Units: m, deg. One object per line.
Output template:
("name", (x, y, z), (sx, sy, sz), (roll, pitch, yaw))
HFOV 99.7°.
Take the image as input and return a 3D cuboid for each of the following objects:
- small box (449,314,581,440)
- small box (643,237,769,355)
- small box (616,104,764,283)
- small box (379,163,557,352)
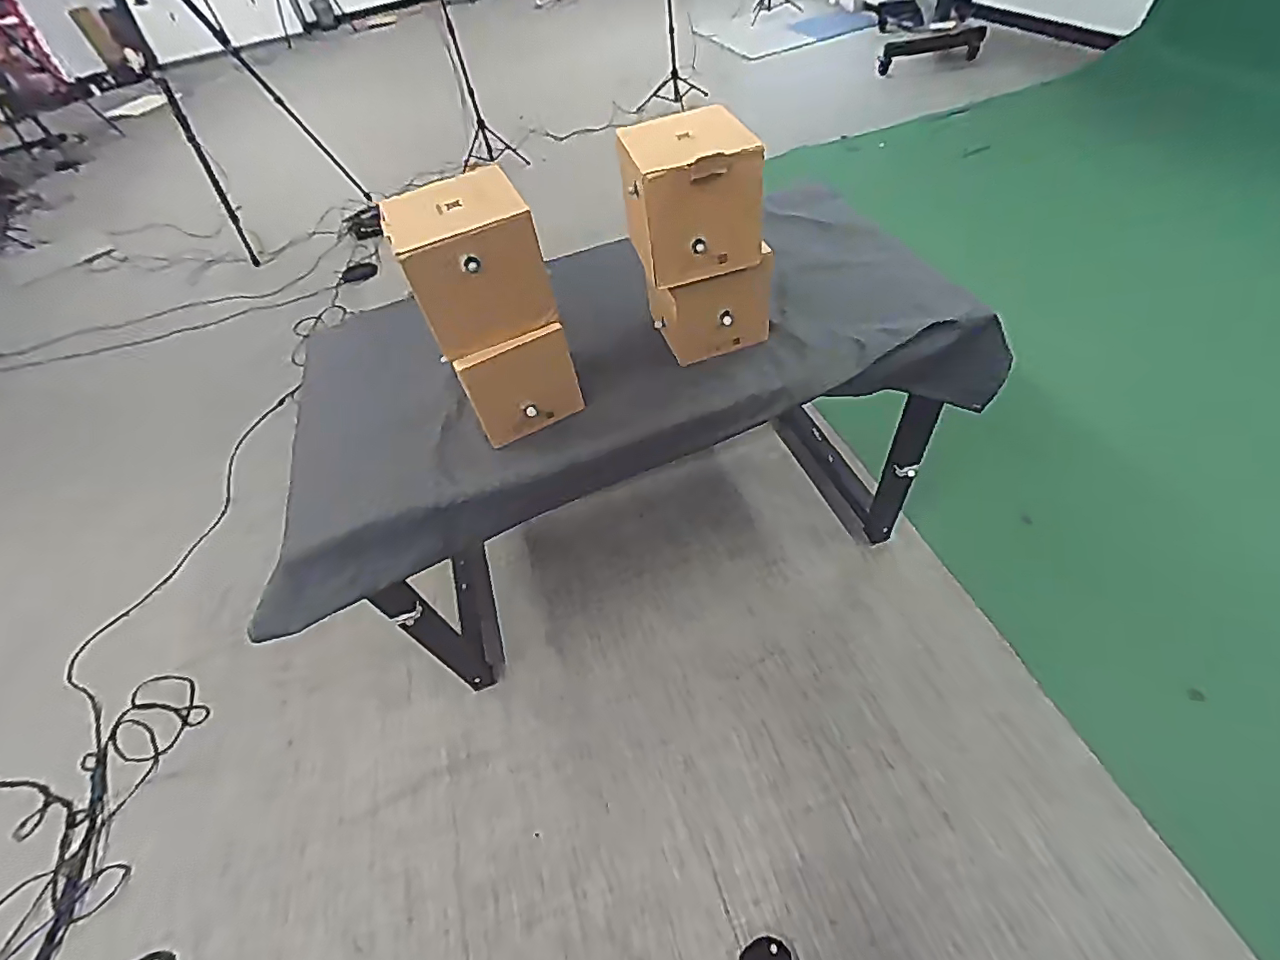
("small box", (-0.214, -0.198, 0.881), (0.168, 0.176, 0.179), (-27, 53, -12))
("small box", (0.111, -0.340, 0.941), (0.168, 0.176, 0.179), (-19, 52, -5))
("small box", (0.071, -0.423, 0.804), (0.168, 0.176, 0.179), (-16, 52, -3))
("small box", (-0.236, -0.309, 0.765), (0.179, 0.176, 0.168), (-23, 54, -10))
